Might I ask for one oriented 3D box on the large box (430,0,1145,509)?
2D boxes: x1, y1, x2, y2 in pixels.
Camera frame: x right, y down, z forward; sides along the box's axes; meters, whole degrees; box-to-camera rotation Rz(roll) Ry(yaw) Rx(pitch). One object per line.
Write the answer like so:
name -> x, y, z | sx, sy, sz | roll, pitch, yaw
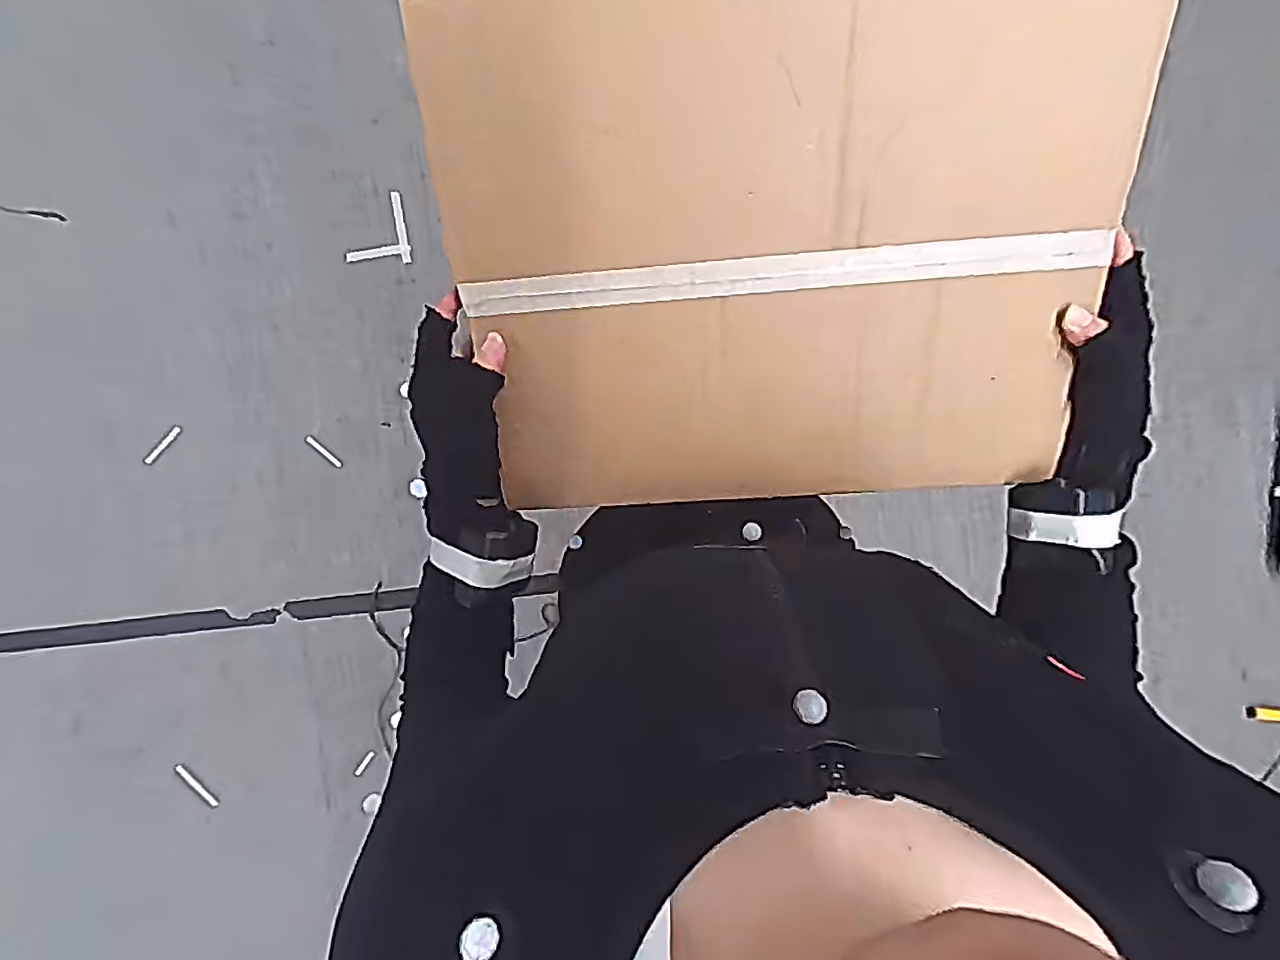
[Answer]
large box -> 0.090, -0.190, 0.493 | 0.408, 0.320, 0.320 | -3, 115, 3
